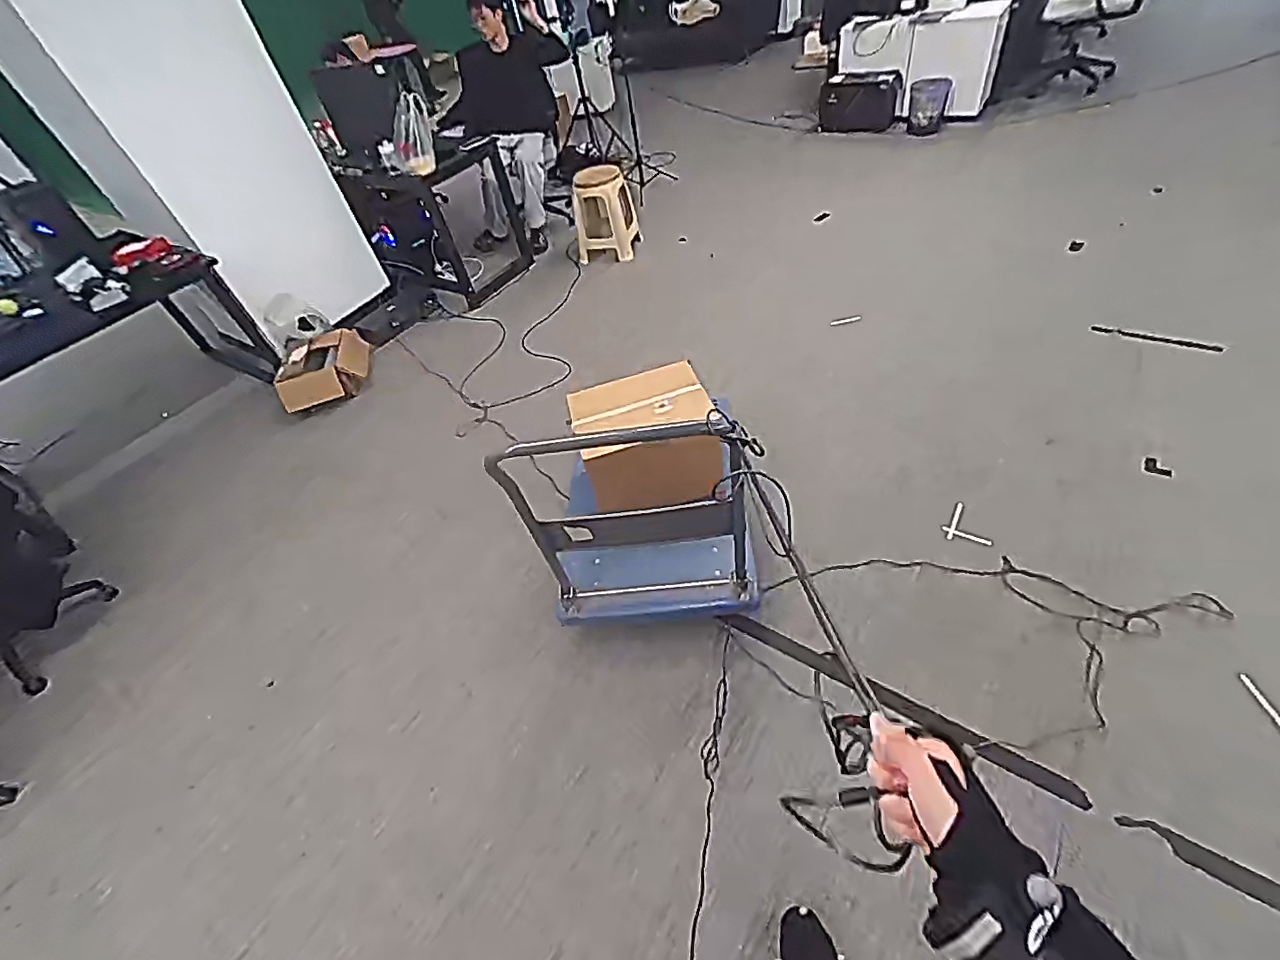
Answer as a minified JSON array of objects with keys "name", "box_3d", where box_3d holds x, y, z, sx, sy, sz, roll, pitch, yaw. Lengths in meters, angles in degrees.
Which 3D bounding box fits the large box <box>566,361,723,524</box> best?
[{"name":"large box","box_3d":[0.017,-0.115,1.702,0.408,0.320,0.320,-17,48,-3]}]
